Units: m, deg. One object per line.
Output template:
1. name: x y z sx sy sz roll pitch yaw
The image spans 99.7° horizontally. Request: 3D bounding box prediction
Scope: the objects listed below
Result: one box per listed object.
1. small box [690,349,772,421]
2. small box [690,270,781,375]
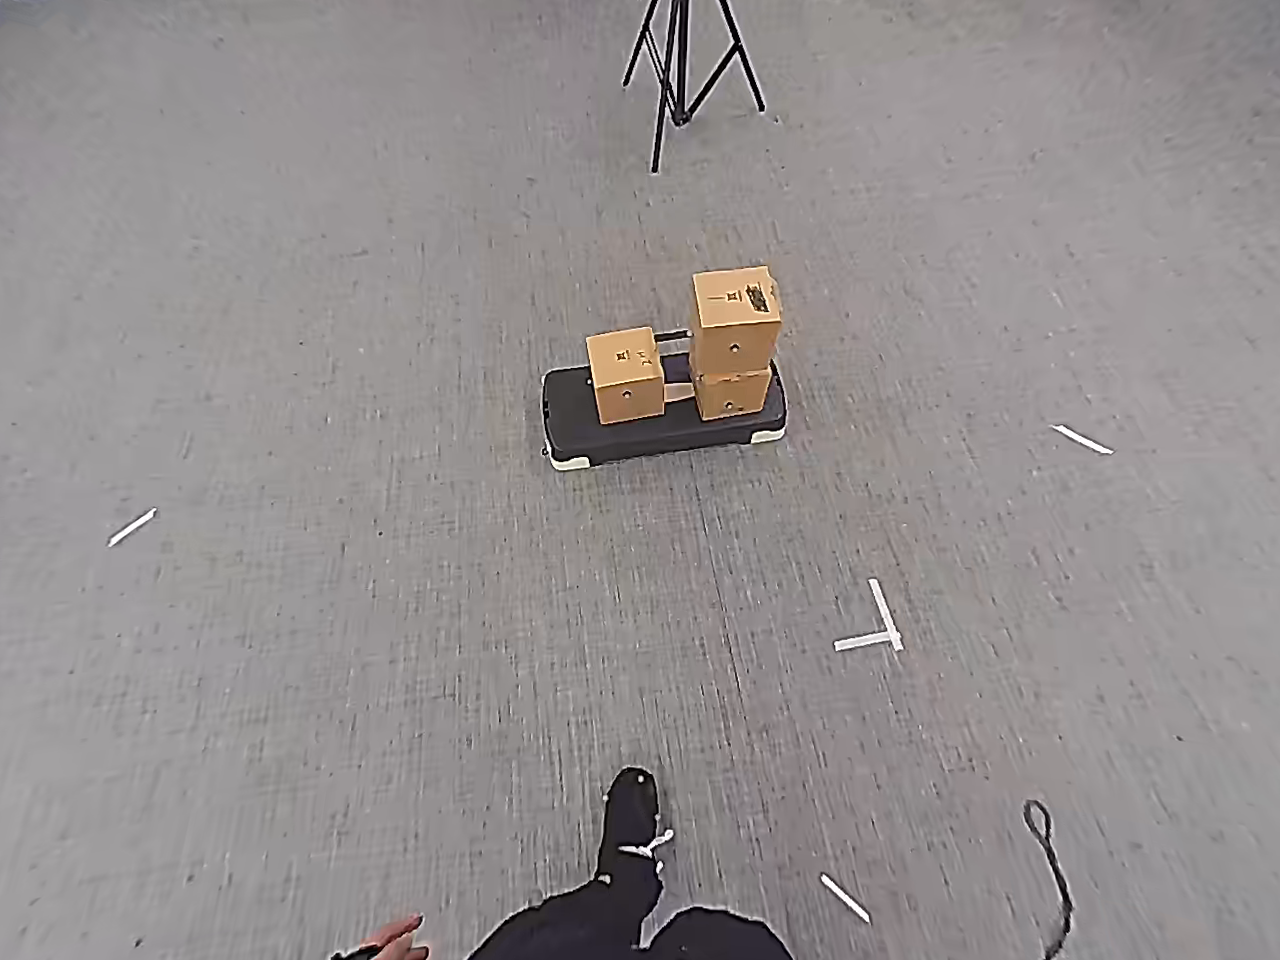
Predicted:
1. small box: 0.229 -0.281 1.416 0.168 0.176 0.179 -10 64 -3
2. small box: 0.218 -0.366 1.276 0.179 0.176 0.168 -5 64 0
